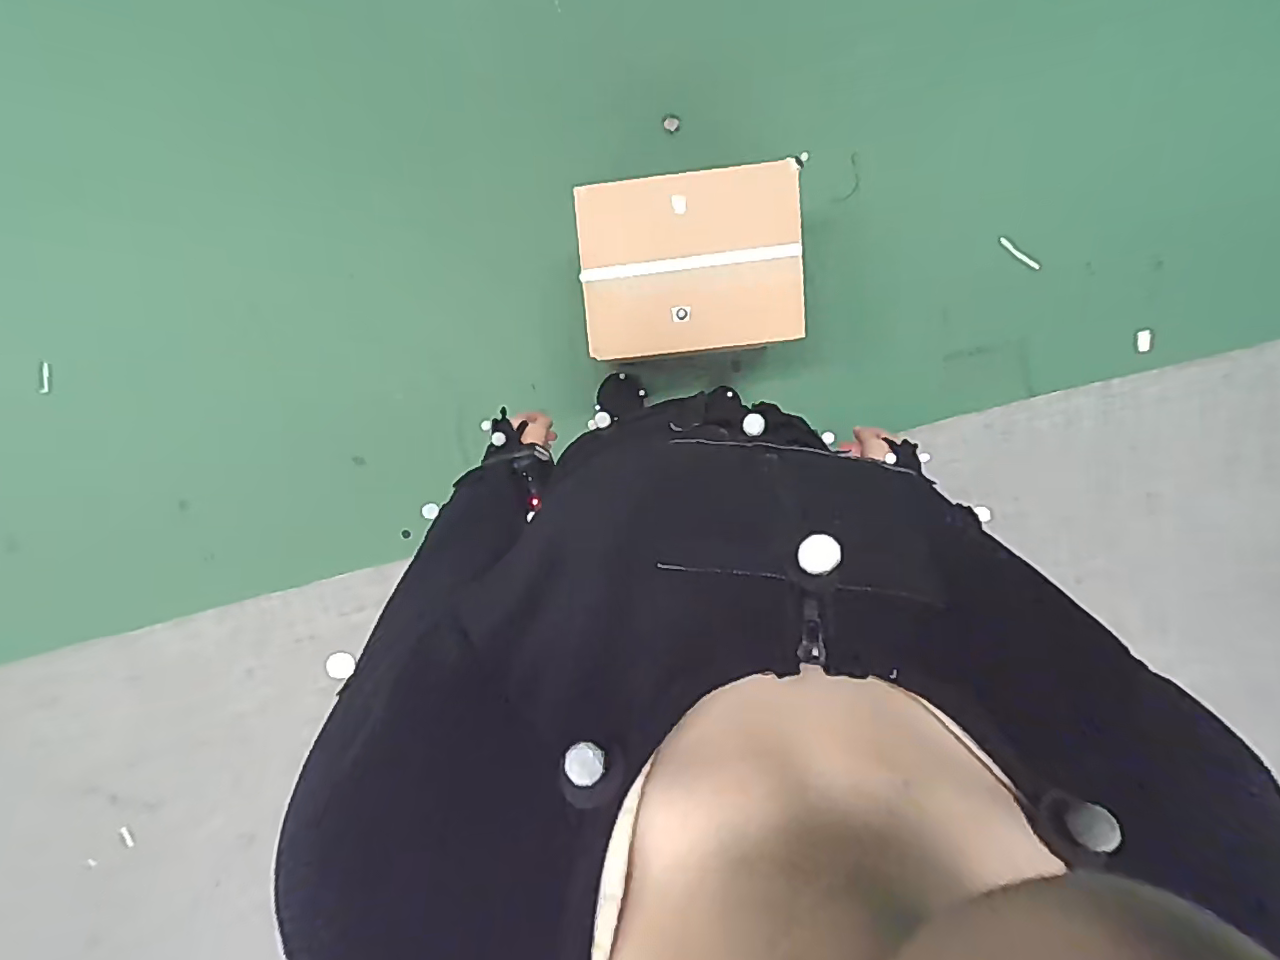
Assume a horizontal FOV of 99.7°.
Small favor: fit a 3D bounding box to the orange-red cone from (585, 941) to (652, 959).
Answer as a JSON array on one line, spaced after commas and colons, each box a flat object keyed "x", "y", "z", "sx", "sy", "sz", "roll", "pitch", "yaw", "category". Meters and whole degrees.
[{"x": -0.079, "y": 1.498, "z": 1.447, "sx": 0.199, "sy": 0.360, "sz": 0.198, "roll": 6, "pitch": 100, "yaw": 2, "category": "orange-red cone"}]
